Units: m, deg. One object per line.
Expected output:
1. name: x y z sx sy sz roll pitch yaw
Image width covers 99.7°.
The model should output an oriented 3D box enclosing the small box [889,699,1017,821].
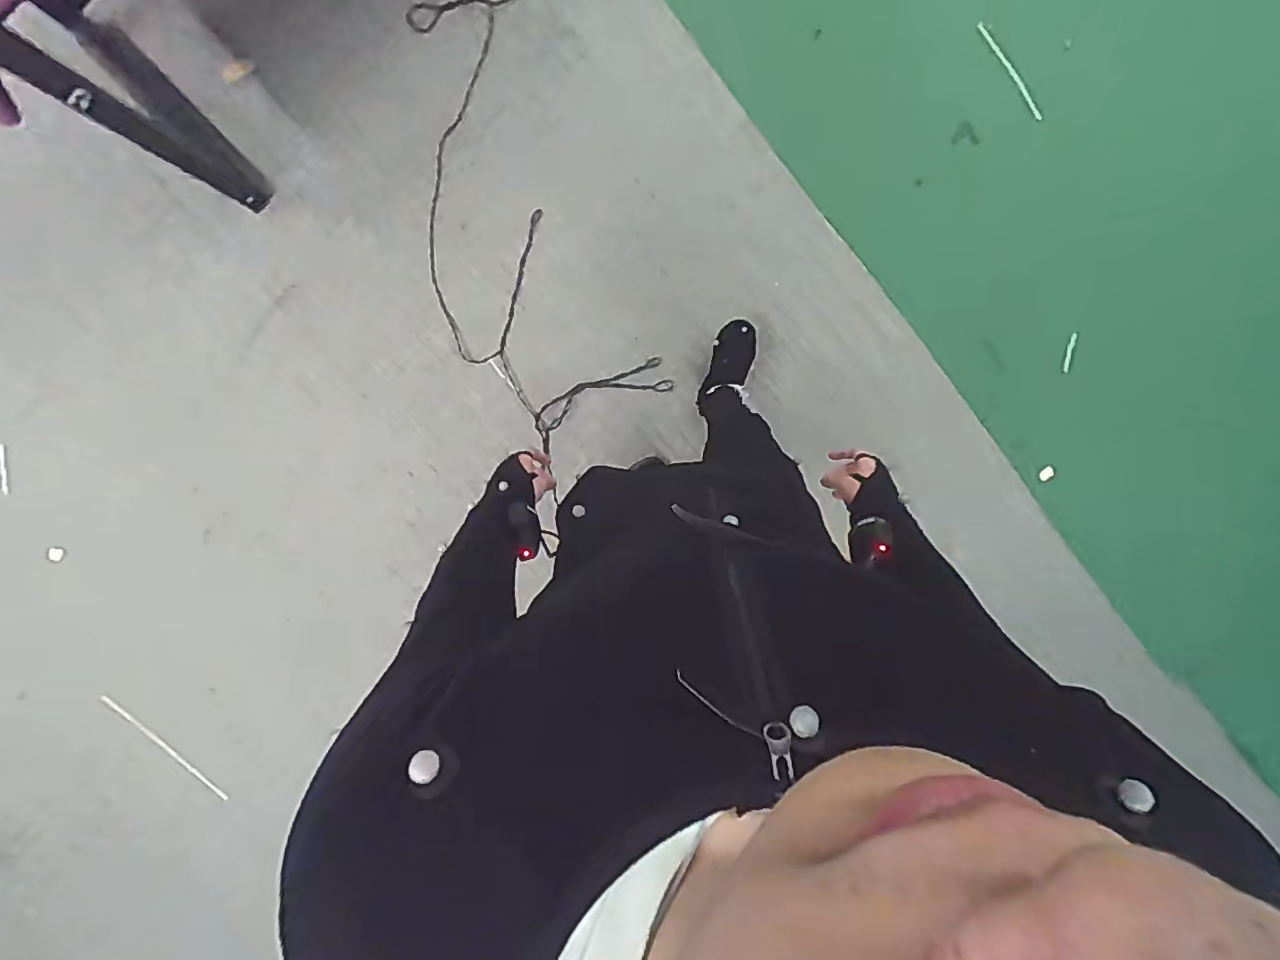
1. small box: 0.751 0.669 1.319 0.168 0.176 0.179 -44 99 2

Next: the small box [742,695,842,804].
1. small box: 0.401 0.714 1.463 0.179 0.176 0.168 43 94 -8
